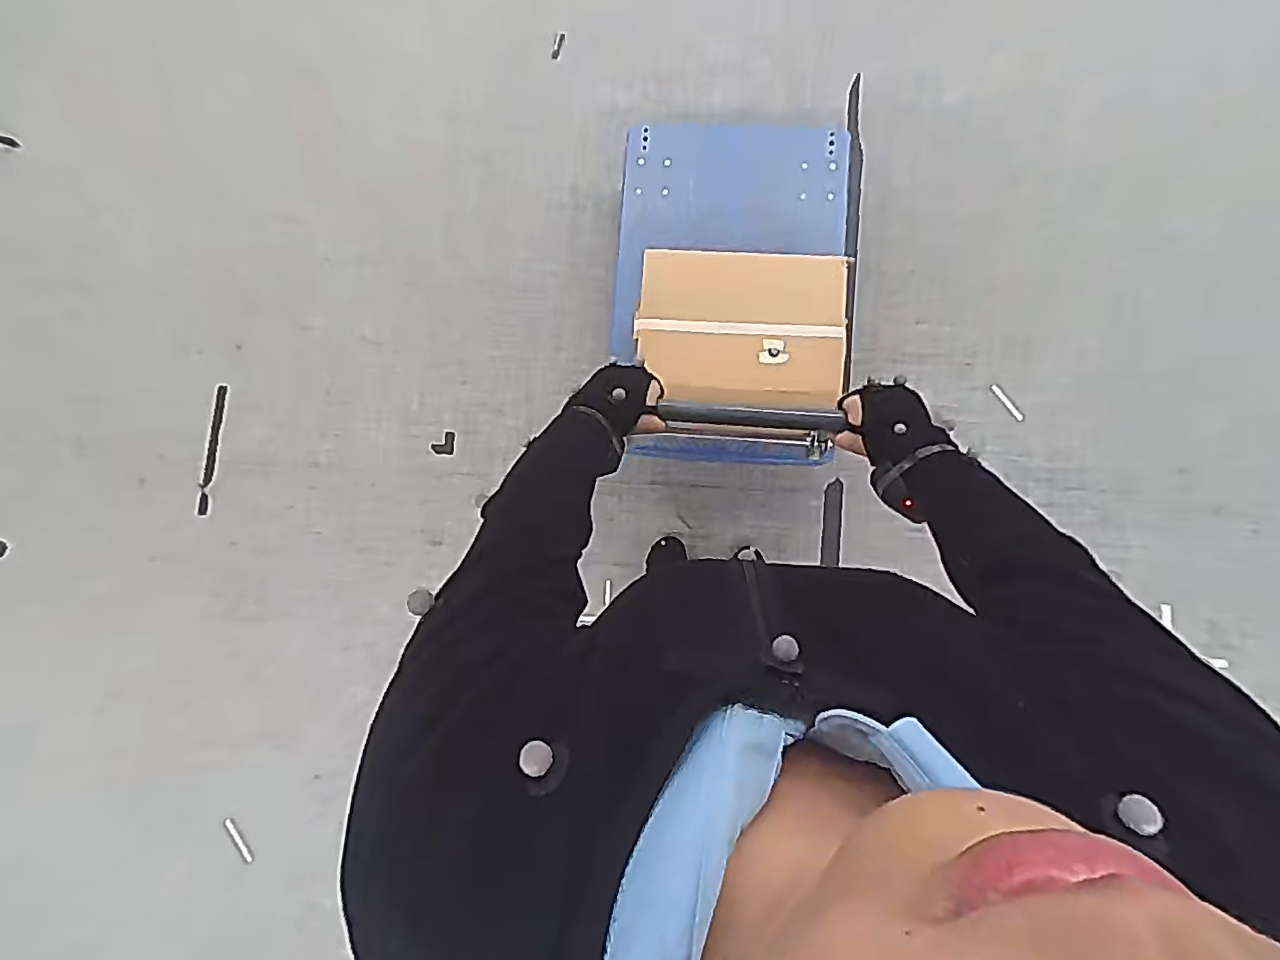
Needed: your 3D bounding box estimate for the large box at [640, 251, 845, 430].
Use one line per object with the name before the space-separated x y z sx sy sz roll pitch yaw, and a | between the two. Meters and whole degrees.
large box | 0.210 -0.294 1.227 0.408 0.320 0.320 4 87 4
